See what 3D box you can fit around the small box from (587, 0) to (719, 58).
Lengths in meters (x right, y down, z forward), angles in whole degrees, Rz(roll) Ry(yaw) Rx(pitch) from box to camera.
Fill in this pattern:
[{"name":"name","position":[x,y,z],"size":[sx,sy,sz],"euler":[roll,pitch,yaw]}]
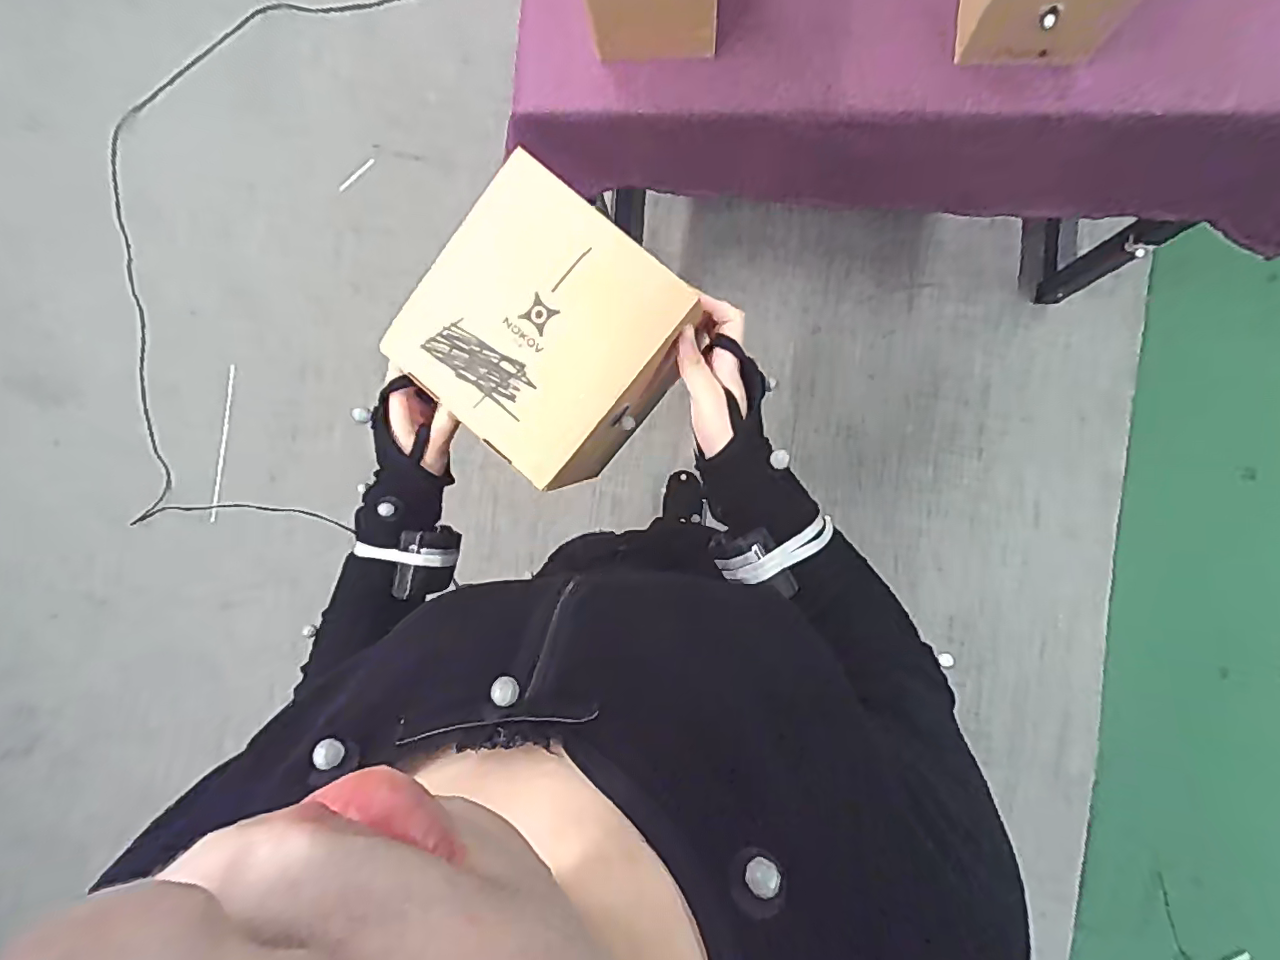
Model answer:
[{"name":"small box","position":[0.019,-0.702,0.718],"size":[0.179,0.176,0.168],"euler":[3,88,6]}]

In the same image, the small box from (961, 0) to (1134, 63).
[{"name":"small box","position":[0.514,-0.649,0.653],"size":[0.168,0.176,0.179],"euler":[7,88,7]}]
